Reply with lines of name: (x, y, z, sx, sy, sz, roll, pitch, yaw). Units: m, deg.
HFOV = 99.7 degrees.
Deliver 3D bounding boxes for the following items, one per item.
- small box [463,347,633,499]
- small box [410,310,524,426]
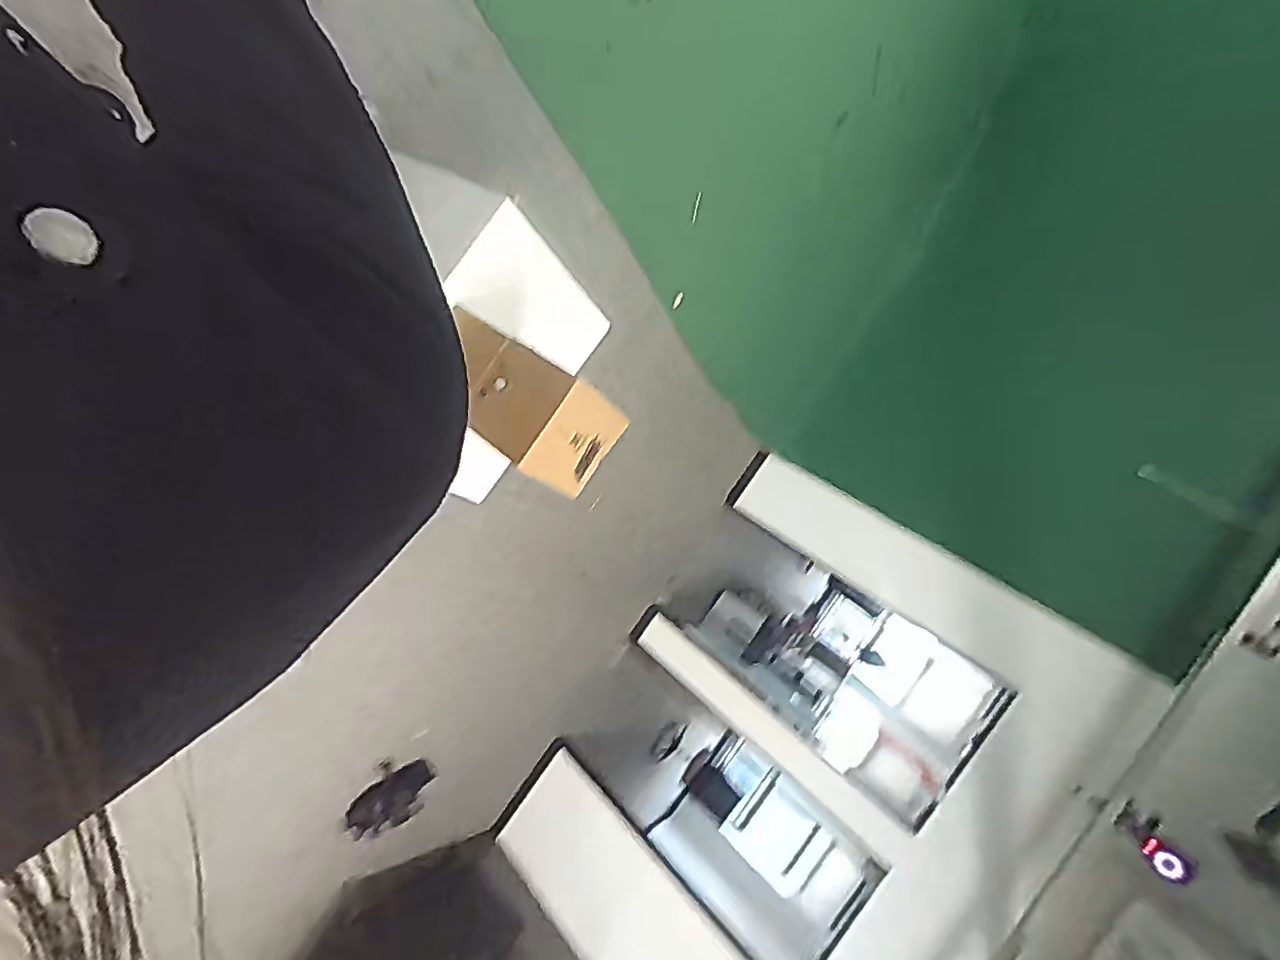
small box: (-0.149, -0.093, 0.889, 0.168, 0.176, 0.179, -57, 152, 3)
small box: (-0.267, -0.175, 0.968, 0.168, 0.176, 0.179, -56, 149, 1)
